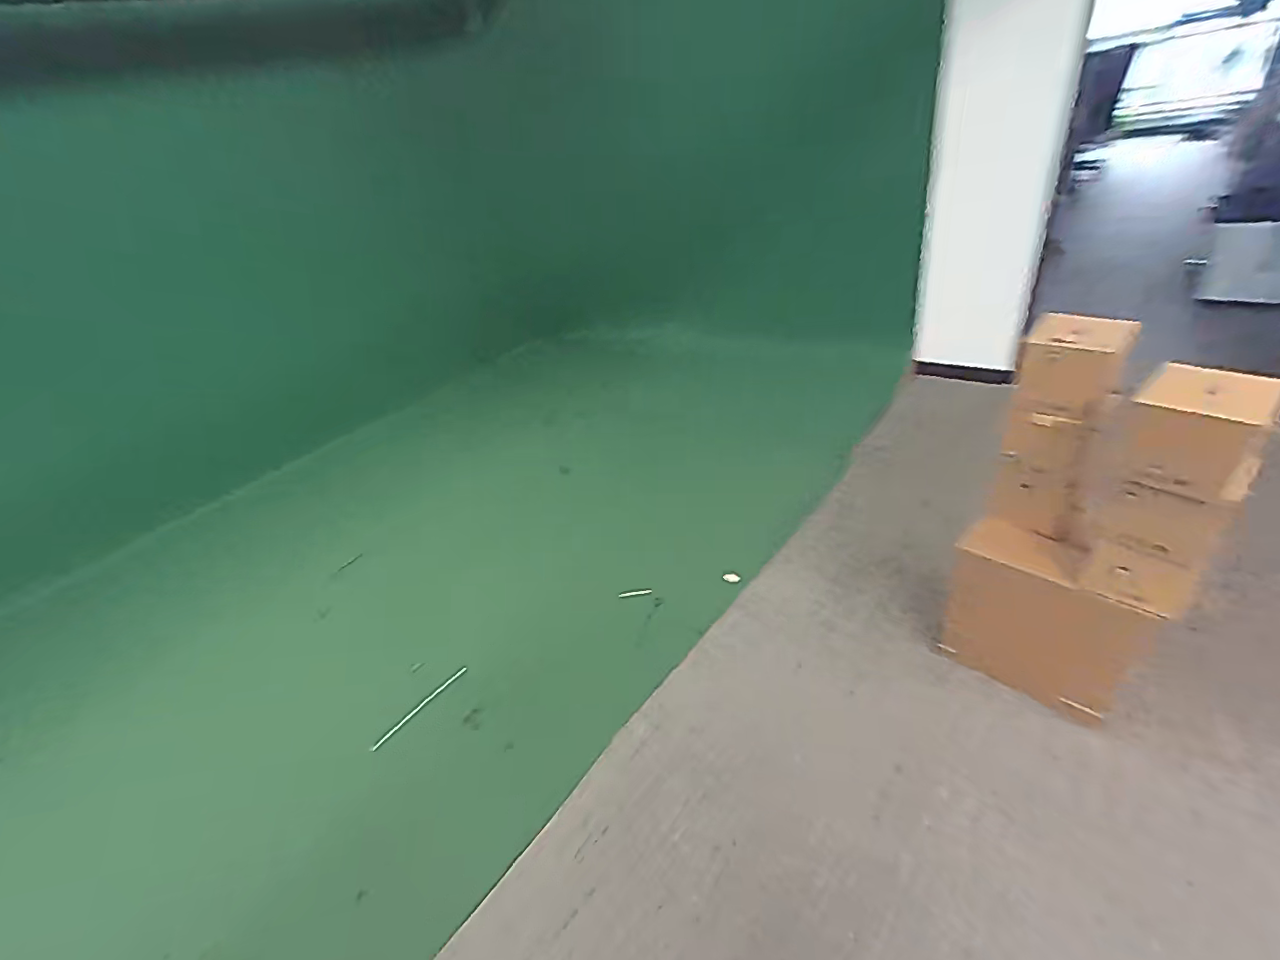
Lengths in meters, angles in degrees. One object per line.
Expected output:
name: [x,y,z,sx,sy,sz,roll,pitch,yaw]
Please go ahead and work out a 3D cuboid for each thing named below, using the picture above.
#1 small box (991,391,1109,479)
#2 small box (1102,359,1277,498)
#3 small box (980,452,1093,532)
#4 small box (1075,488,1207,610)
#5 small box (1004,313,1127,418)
small box: [0.991,-0.126,1.322,0.179,0.176,0.168,-30,38,-25]
small box: [0.993,-0.097,0.991,0.179,0.176,0.168,-33,39,-25]
small box: [1.024,0.008,1.411,0.168,0.176,0.179,-33,40,-25]
small box: [1.089,0.151,1.185,0.168,0.176,0.179,21,47,39]
small box: [0.963,-0.264,1.235,0.179,0.176,0.168,-35,39,-30]
